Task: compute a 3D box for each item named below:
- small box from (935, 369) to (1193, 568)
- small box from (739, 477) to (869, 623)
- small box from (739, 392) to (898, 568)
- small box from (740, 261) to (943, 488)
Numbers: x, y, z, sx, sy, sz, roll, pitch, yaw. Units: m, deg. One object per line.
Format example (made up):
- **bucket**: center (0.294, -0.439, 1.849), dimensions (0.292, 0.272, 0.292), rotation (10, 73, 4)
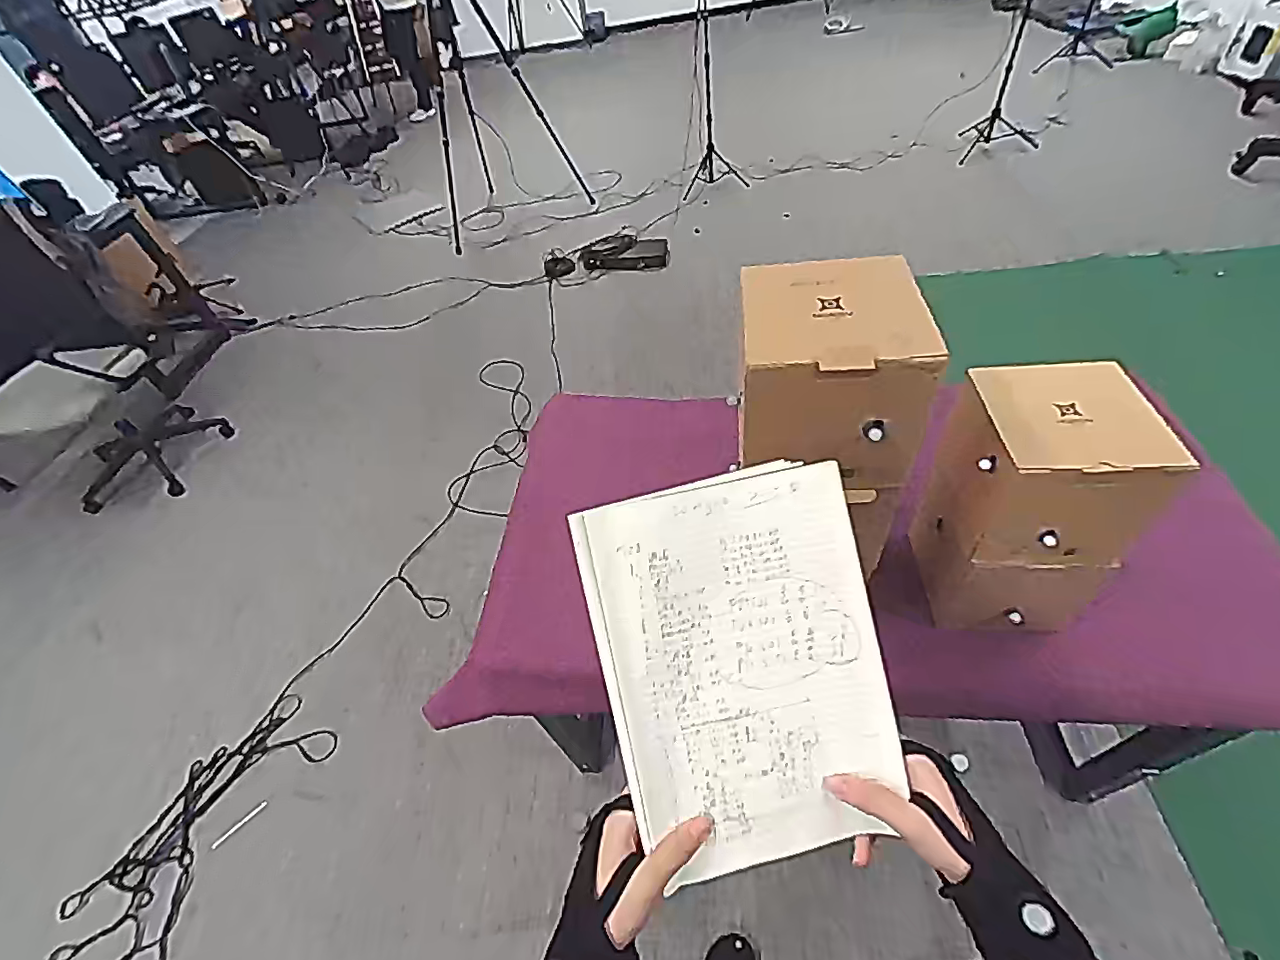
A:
- **small box**: center (0.483, -0.014, 0.658), dimensions (0.168, 0.176, 0.179), rotation (-1, 48, 10)
- **small box**: center (0.236, 0.104, 0.820), dimensions (0.168, 0.176, 0.179), rotation (-1, 49, 9)
- **small box**: center (0.213, 0.000, 0.694), dimensions (0.168, 0.176, 0.179), rotation (-1, 48, 9)
- **small box**: center (0.191, -0.105, 0.571), dimensions (0.168, 0.176, 0.179), rotation (0, 48, 9)
